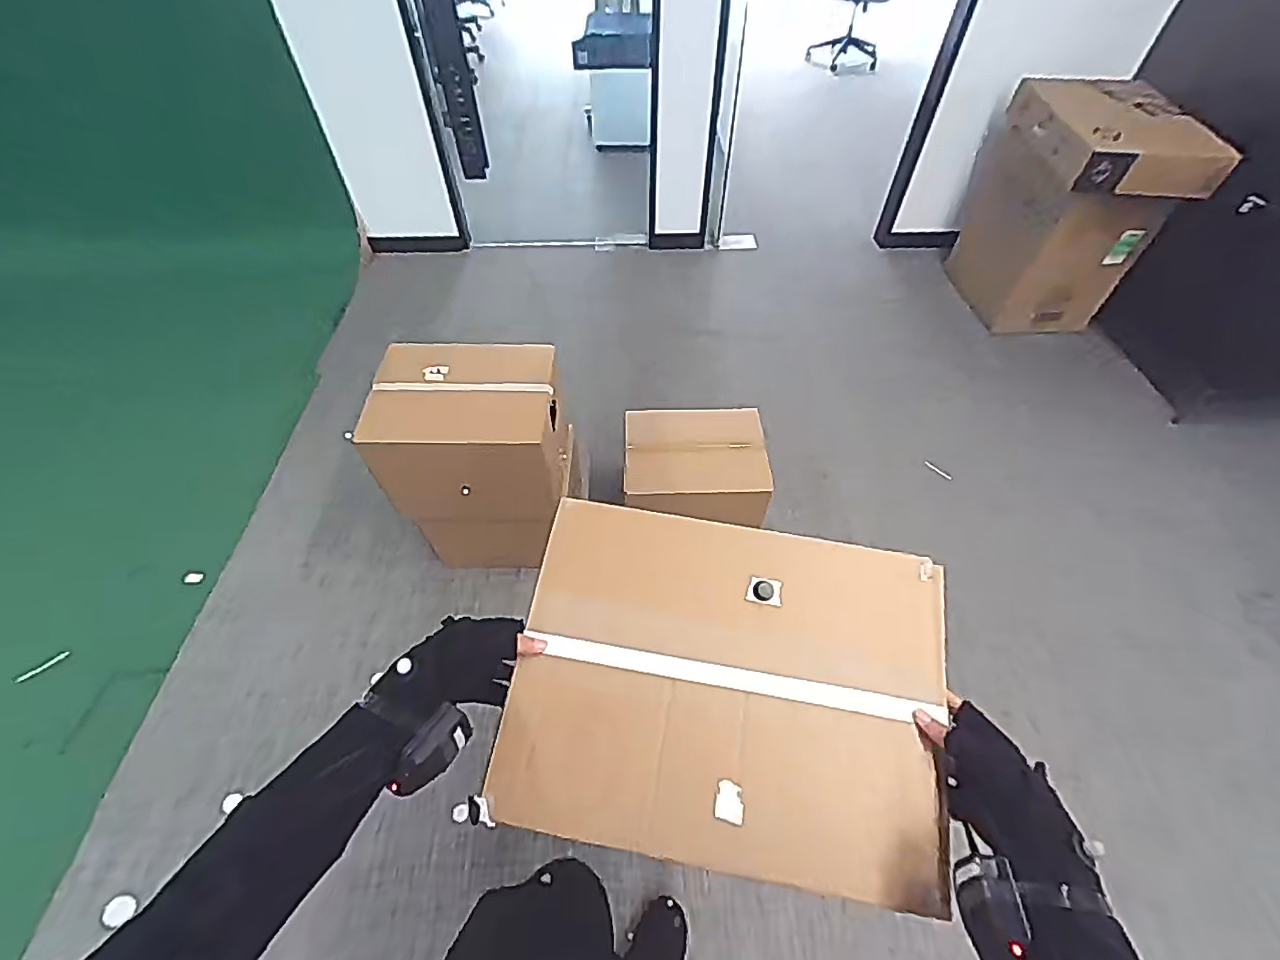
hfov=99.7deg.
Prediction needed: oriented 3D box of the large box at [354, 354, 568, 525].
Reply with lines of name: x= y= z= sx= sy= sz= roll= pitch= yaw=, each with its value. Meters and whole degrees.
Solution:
large box: x=-0.402 y=-0.094 z=1.340 sx=0.408 sy=0.320 sz=0.320 roll=1 pitch=53 yaw=1
